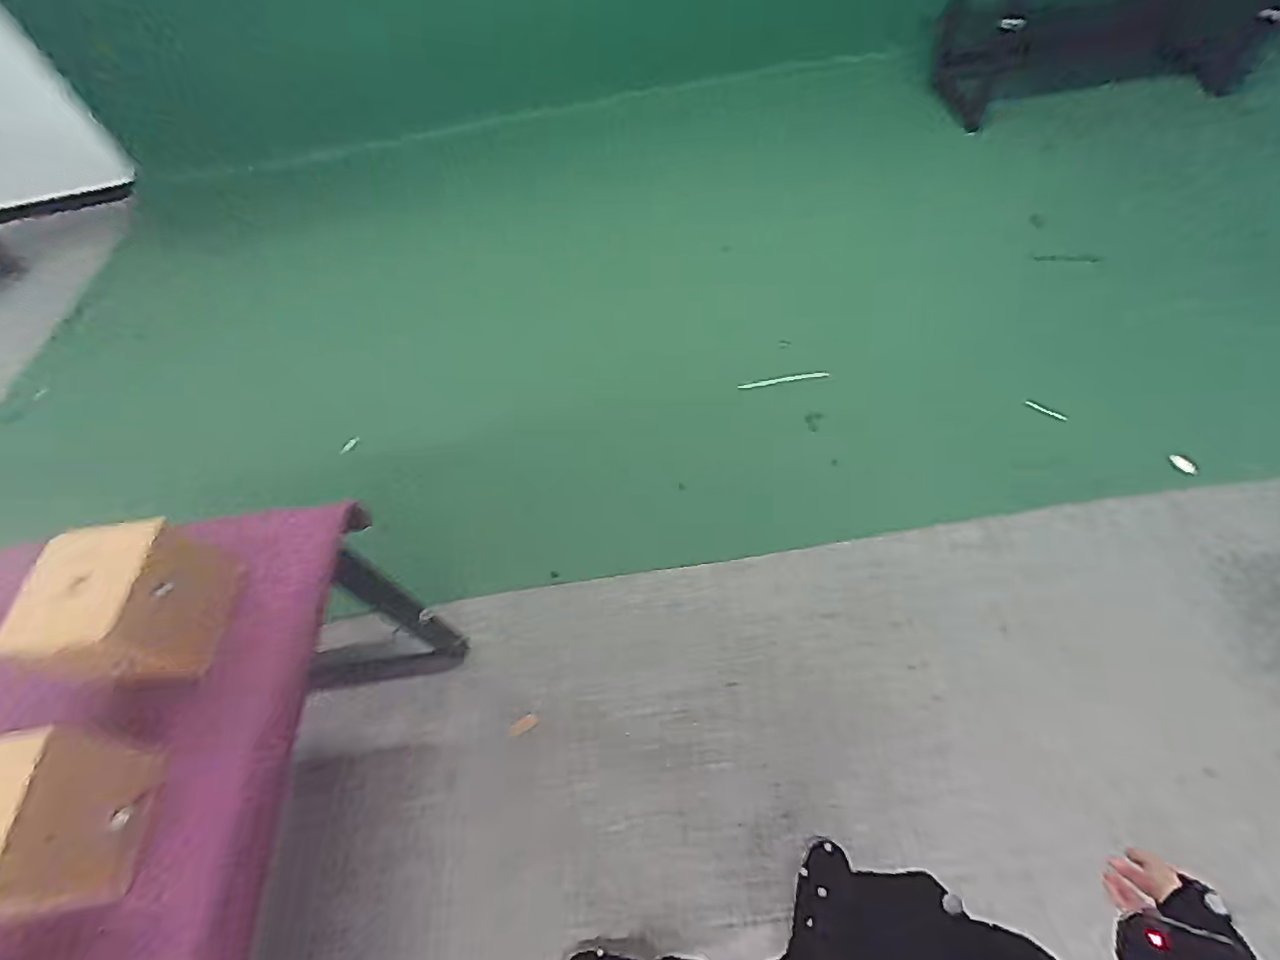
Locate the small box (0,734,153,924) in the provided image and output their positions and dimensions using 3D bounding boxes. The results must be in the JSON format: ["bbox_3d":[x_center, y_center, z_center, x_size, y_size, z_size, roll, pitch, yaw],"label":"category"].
[{"bbox_3d":[-0.739,0.410,0.624,0.179,0.176,0.168,-11,56,0],"label":"small box"}]

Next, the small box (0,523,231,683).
[{"bbox_3d":[-0.742,0.184,0.776,0.168,0.176,0.179,-7,56,4],"label":"small box"}]
